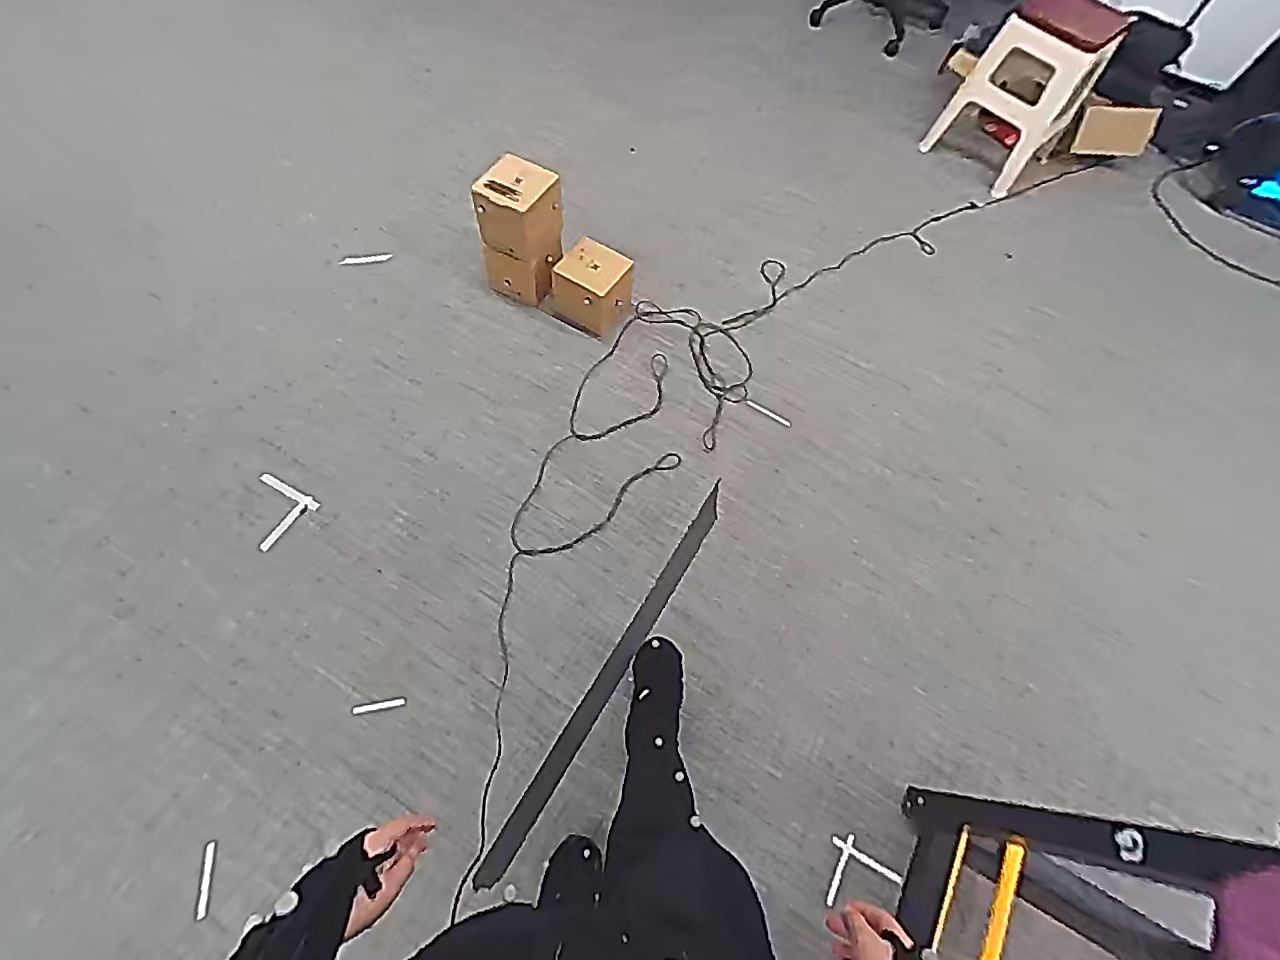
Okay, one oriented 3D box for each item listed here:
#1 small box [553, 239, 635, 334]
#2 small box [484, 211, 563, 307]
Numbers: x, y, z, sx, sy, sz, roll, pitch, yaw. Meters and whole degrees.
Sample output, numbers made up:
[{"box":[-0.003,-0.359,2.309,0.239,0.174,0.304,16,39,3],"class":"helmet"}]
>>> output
[{"box":[-0.134,-0.561,1.592,0.179,0.176,0.168,31,66,11],"class":"small box"},{"box":[-0.343,-0.660,1.627,0.168,0.176,0.179,23,66,7],"class":"small box"}]
